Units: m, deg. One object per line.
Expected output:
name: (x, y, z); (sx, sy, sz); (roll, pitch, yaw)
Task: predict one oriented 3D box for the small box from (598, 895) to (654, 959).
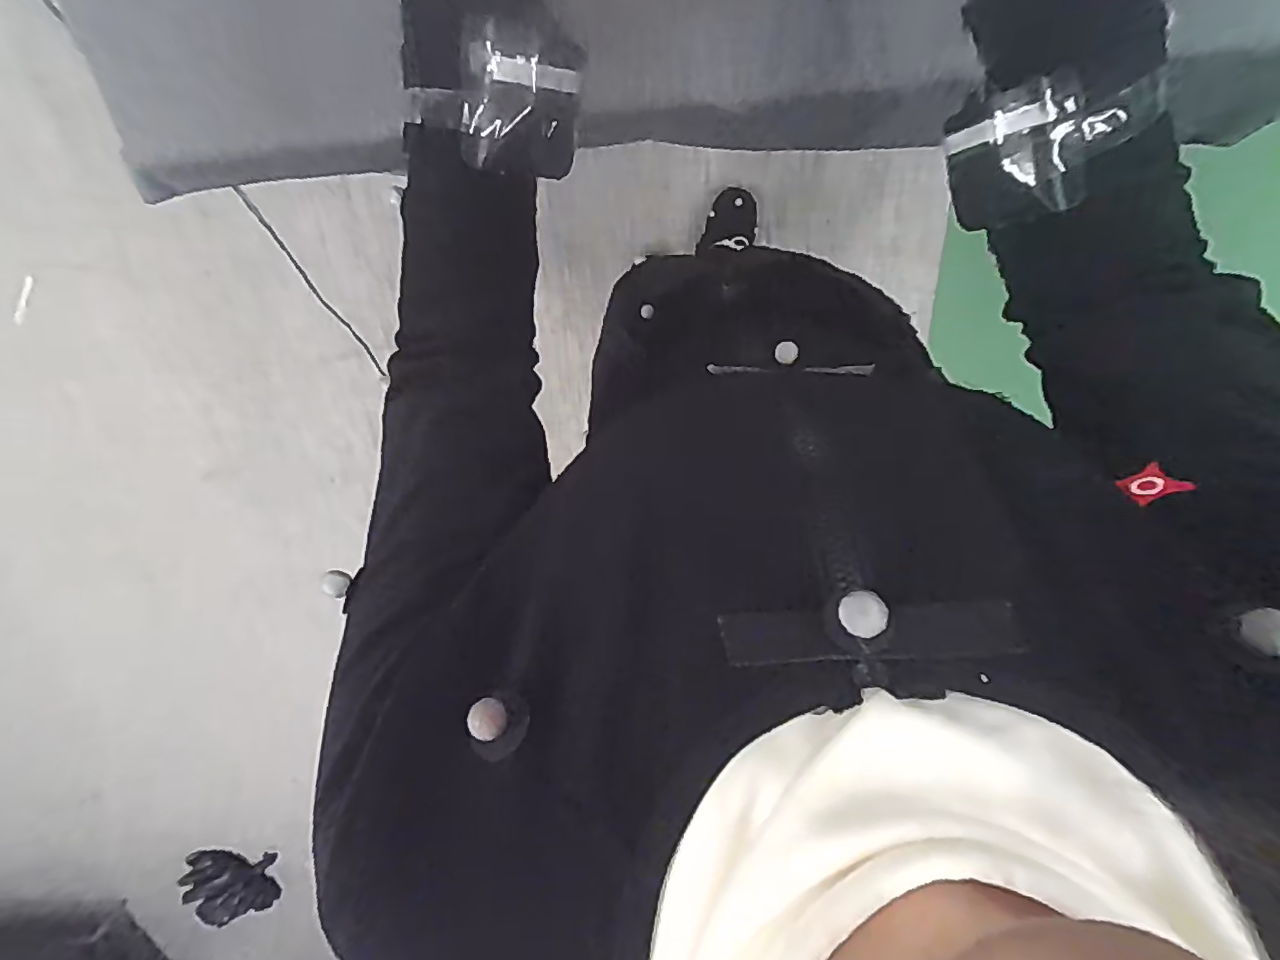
small box: (-0.043, 1.578, 1.877); (0.179, 0.176, 0.168); (-5, 114, 5)
